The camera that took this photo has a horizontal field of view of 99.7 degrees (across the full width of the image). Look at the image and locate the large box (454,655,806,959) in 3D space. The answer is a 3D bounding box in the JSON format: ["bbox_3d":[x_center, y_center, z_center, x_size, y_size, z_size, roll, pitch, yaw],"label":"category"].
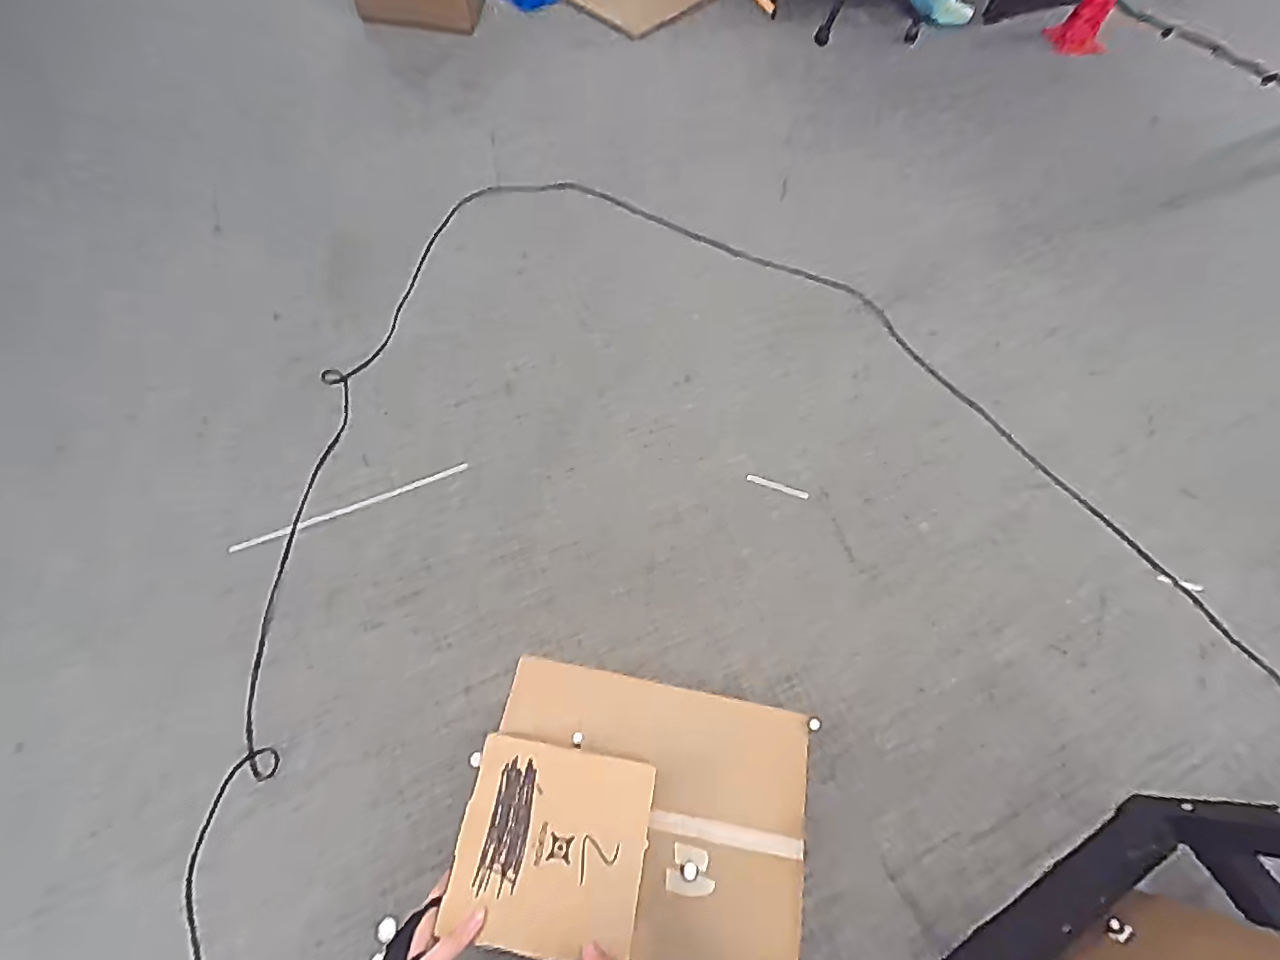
[{"bbox_3d":[-0.006,0.475,0.809,0.408,0.320,0.320,12,65,1],"label":"large box"}]
